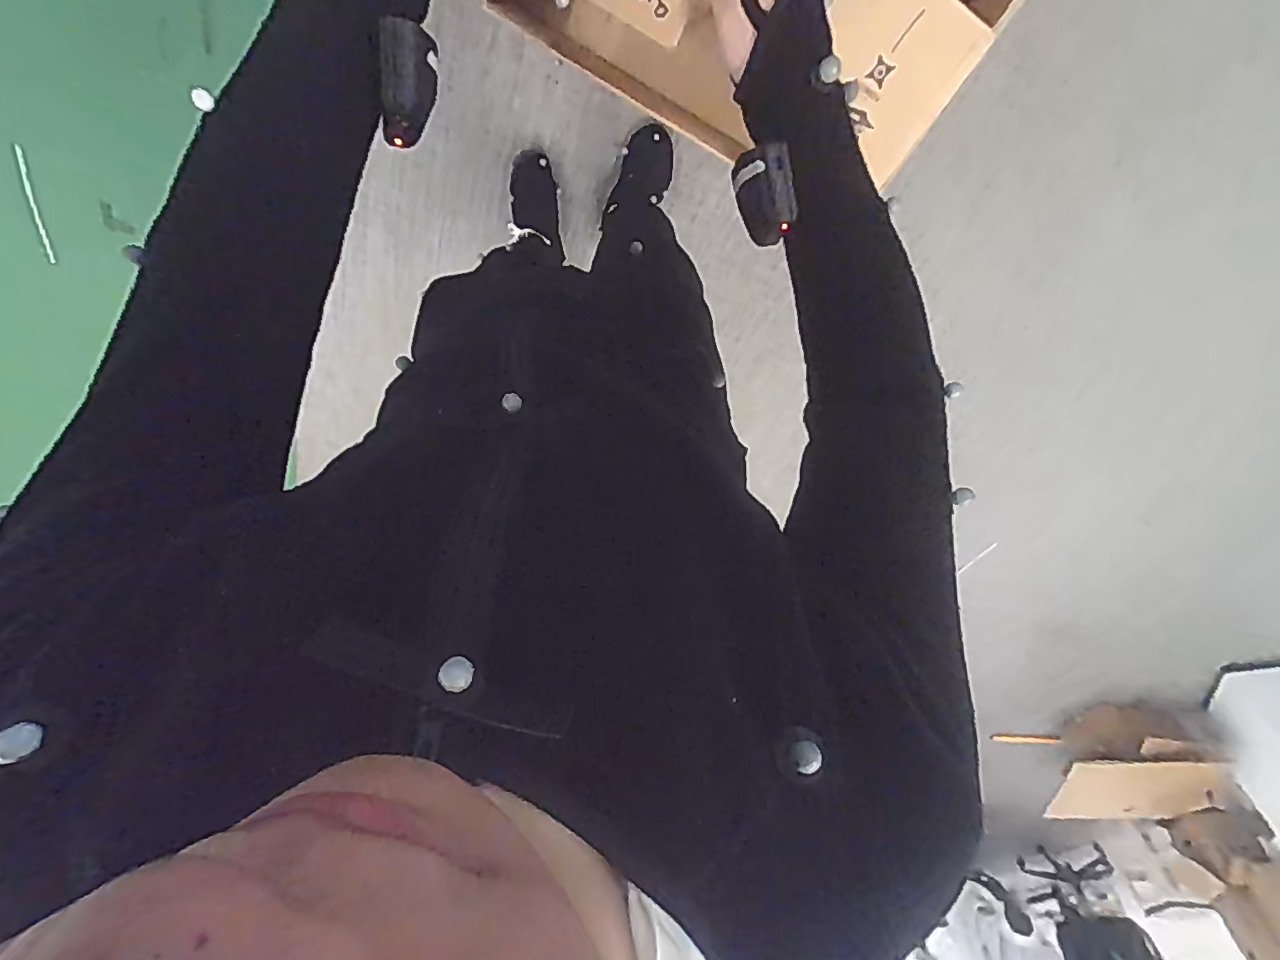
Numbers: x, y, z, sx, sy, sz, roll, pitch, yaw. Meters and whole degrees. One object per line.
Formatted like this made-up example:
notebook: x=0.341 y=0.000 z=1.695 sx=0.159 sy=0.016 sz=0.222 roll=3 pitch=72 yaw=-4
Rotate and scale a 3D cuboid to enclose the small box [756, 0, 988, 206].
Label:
small box: x=0.252 y=-0.467 z=0.639 sx=0.168 sy=0.176 sz=0.179 roll=26 pitch=127 yaw=-15
